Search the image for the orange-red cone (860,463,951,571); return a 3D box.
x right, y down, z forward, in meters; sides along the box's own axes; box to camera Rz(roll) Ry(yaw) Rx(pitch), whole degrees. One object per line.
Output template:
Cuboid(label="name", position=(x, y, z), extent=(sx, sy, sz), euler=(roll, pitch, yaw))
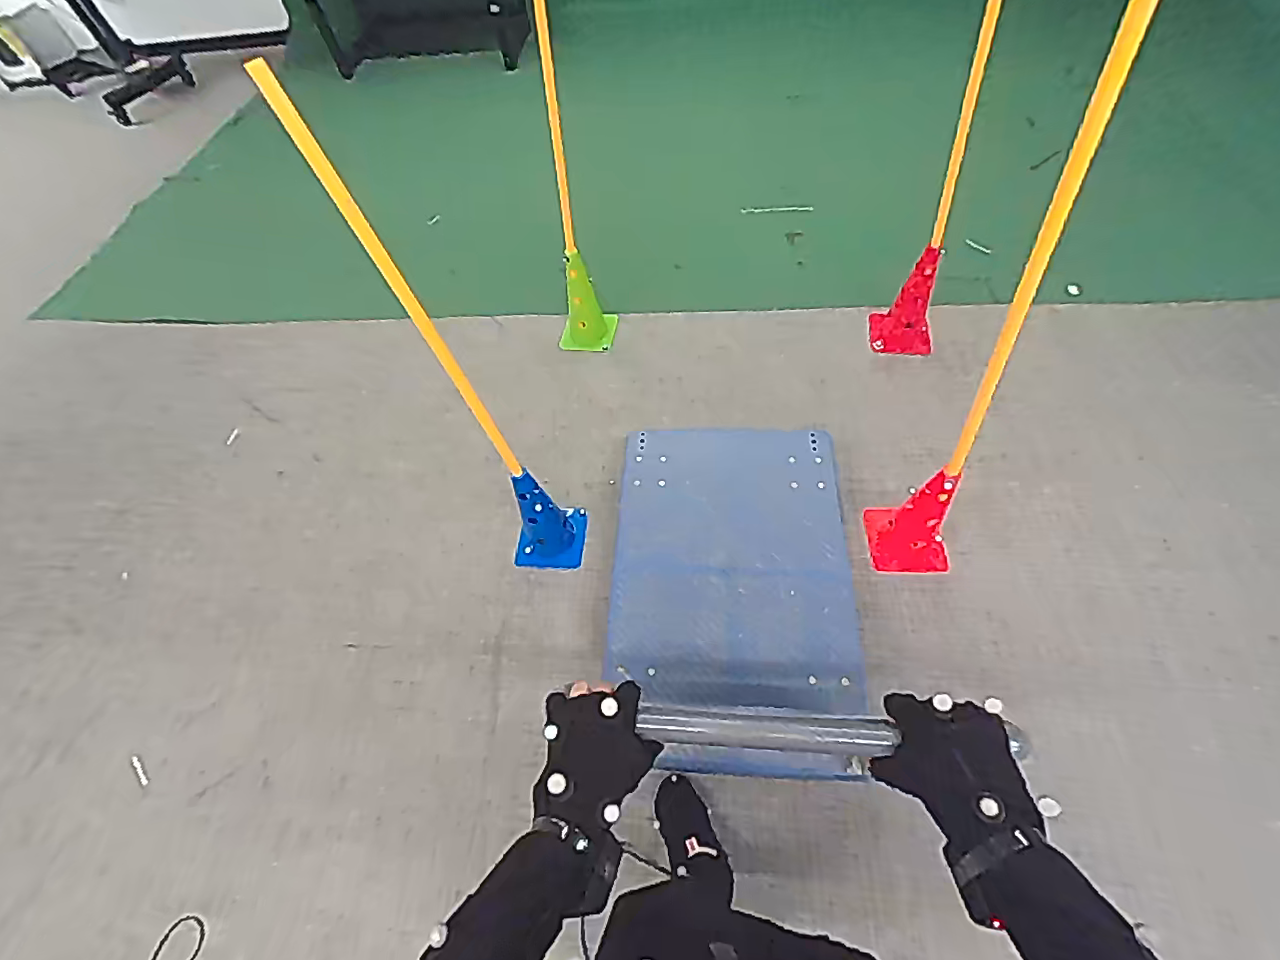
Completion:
Cuboid(label="orange-red cone", position=(0.714, 0.072, 1.384), extent=(0.199, 0.360, 0.198), euler=(-1, 57, 8))

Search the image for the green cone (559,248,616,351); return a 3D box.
Cuboid(label="green cone", position=(-0.221, -0.668, 1.950), extent=(0.202, 0.368, 0.200), euler=(4, 58, 10))
